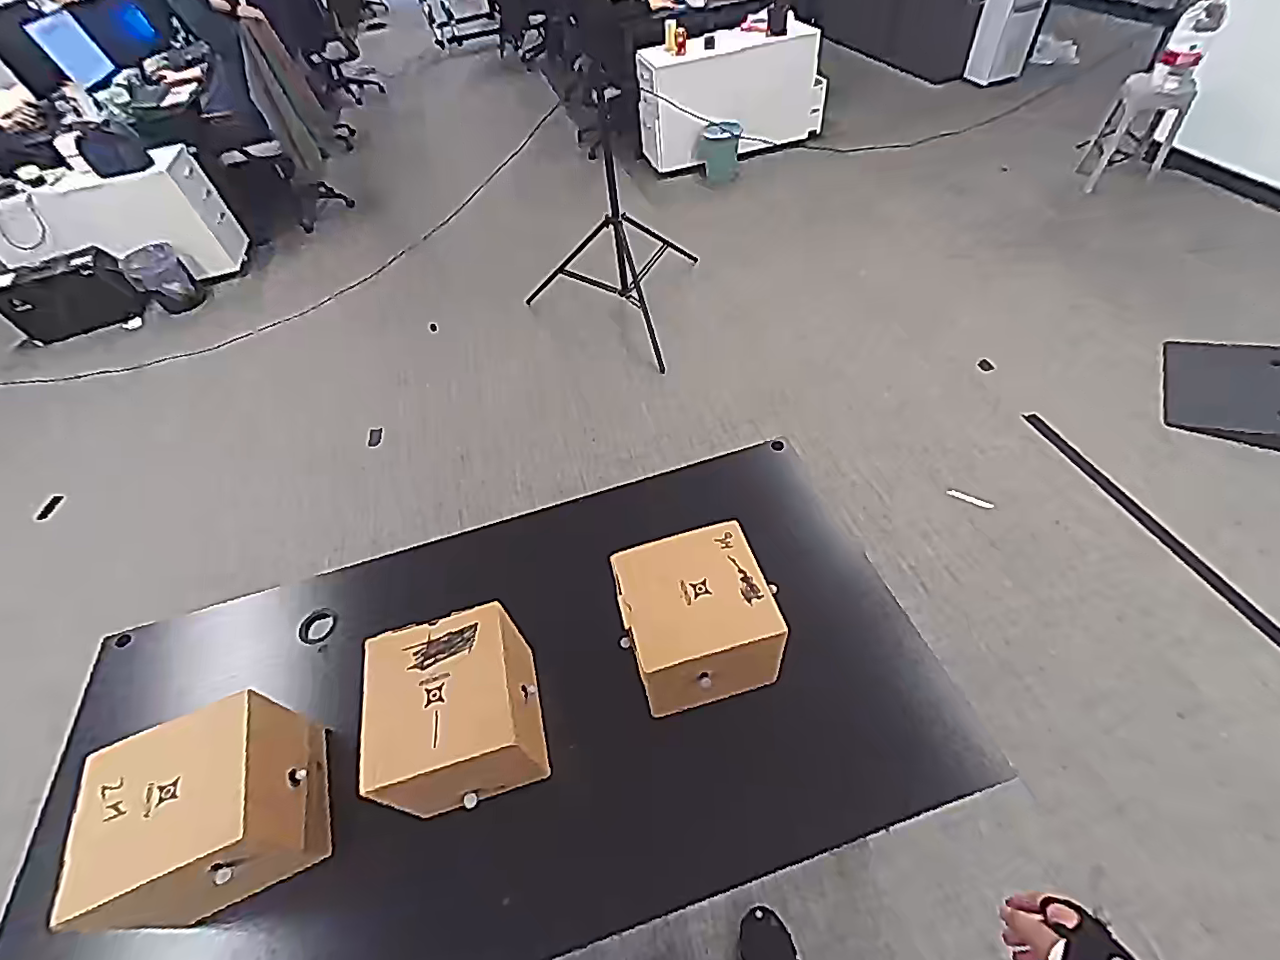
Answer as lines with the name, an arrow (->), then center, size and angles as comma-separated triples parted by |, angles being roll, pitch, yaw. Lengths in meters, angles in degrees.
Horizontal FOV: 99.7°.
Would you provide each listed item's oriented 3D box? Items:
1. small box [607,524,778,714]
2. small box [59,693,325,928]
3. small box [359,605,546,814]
small box -> 0.068, 0.190, 0.723 | 0.179, 0.176, 0.168 | -15, 51, -4
small box -> -0.496, 0.386, 0.637 | 0.179, 0.176, 0.168 | -23, 52, -11
small box -> -0.227, 0.291, 0.681 | 0.168, 0.176, 0.179 | -16, 52, -5
